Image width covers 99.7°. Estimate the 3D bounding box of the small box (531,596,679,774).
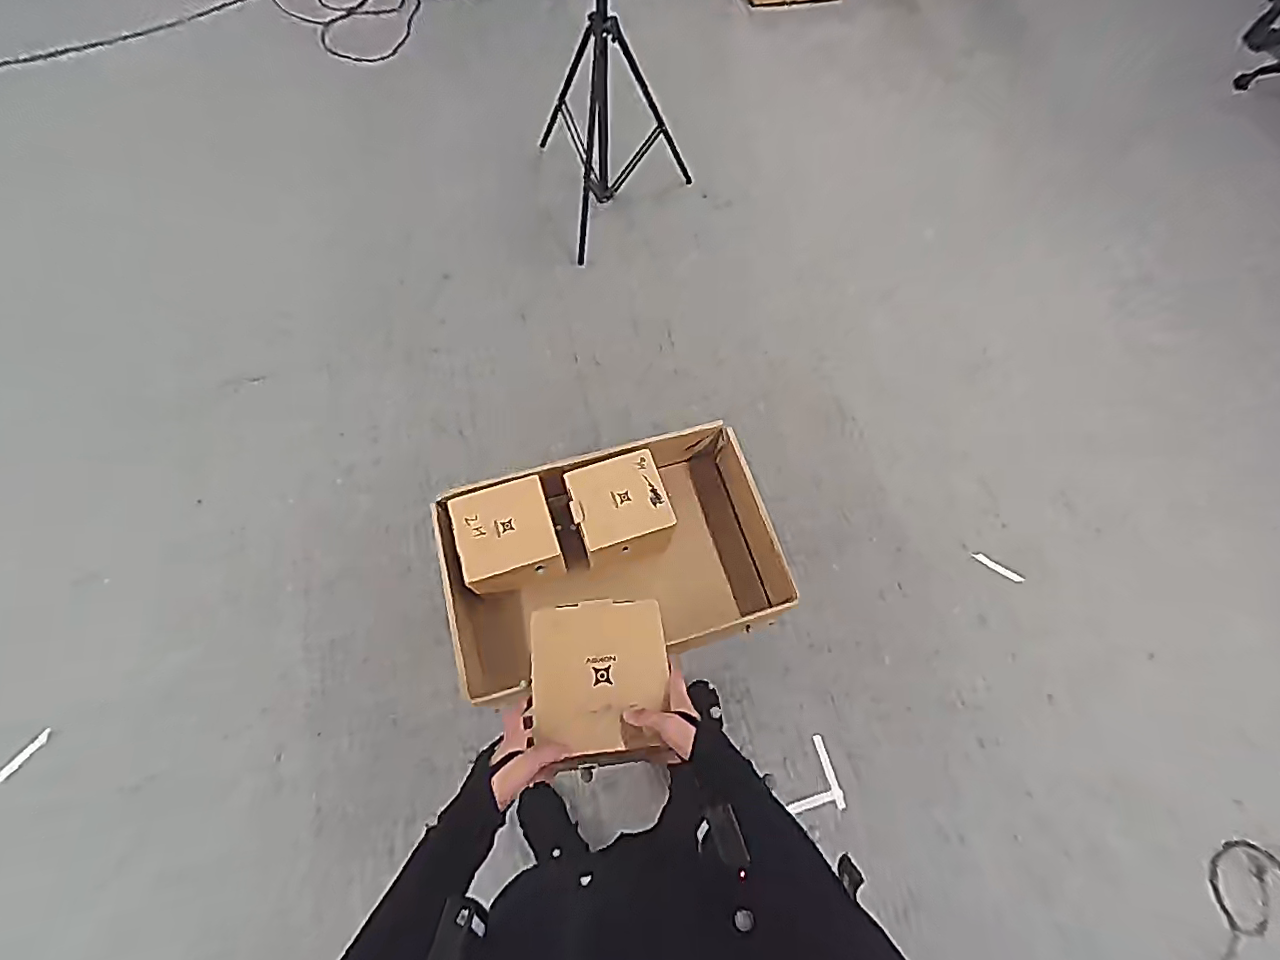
[{"bbox_3d":[-0.058,0.269,0.708,0.168,0.176,0.179,-2,57,-11],"label":"small box"}]
